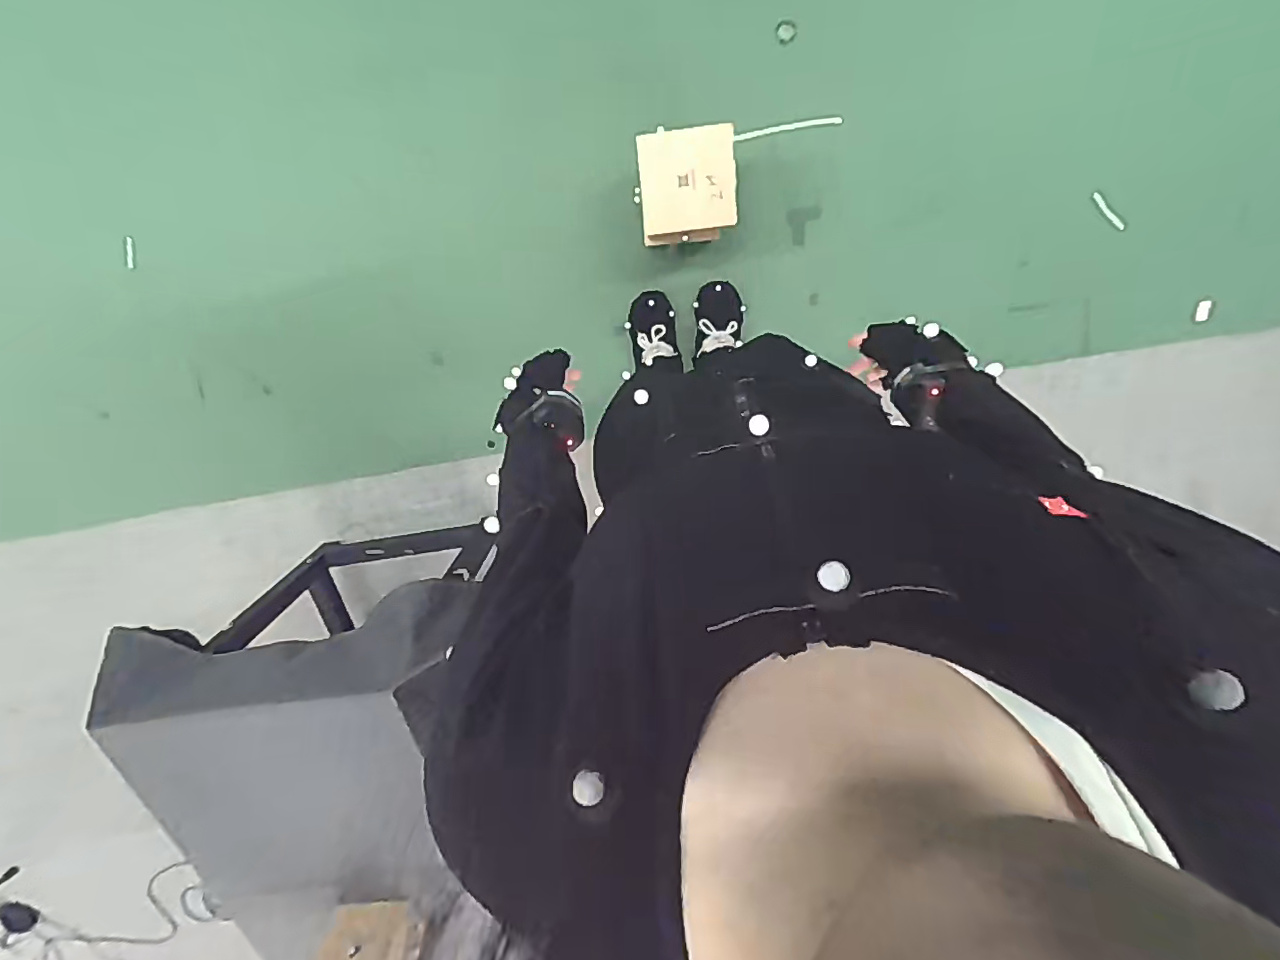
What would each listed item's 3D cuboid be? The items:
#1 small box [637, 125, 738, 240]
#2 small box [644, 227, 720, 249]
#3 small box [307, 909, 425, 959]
[{"bbox_3d":[0.092,-0.571,1.058,0.179,0.176,0.168,-5,111,4],"label":"small box"},{"bbox_3d":[0.091,-0.620,1.215,0.168,0.176,0.179,-4,111,4],"label":"small box"},{"bbox_3d":[-0.575,1.022,1.106,0.179,0.176,0.168,-8,111,5],"label":"small box"}]
